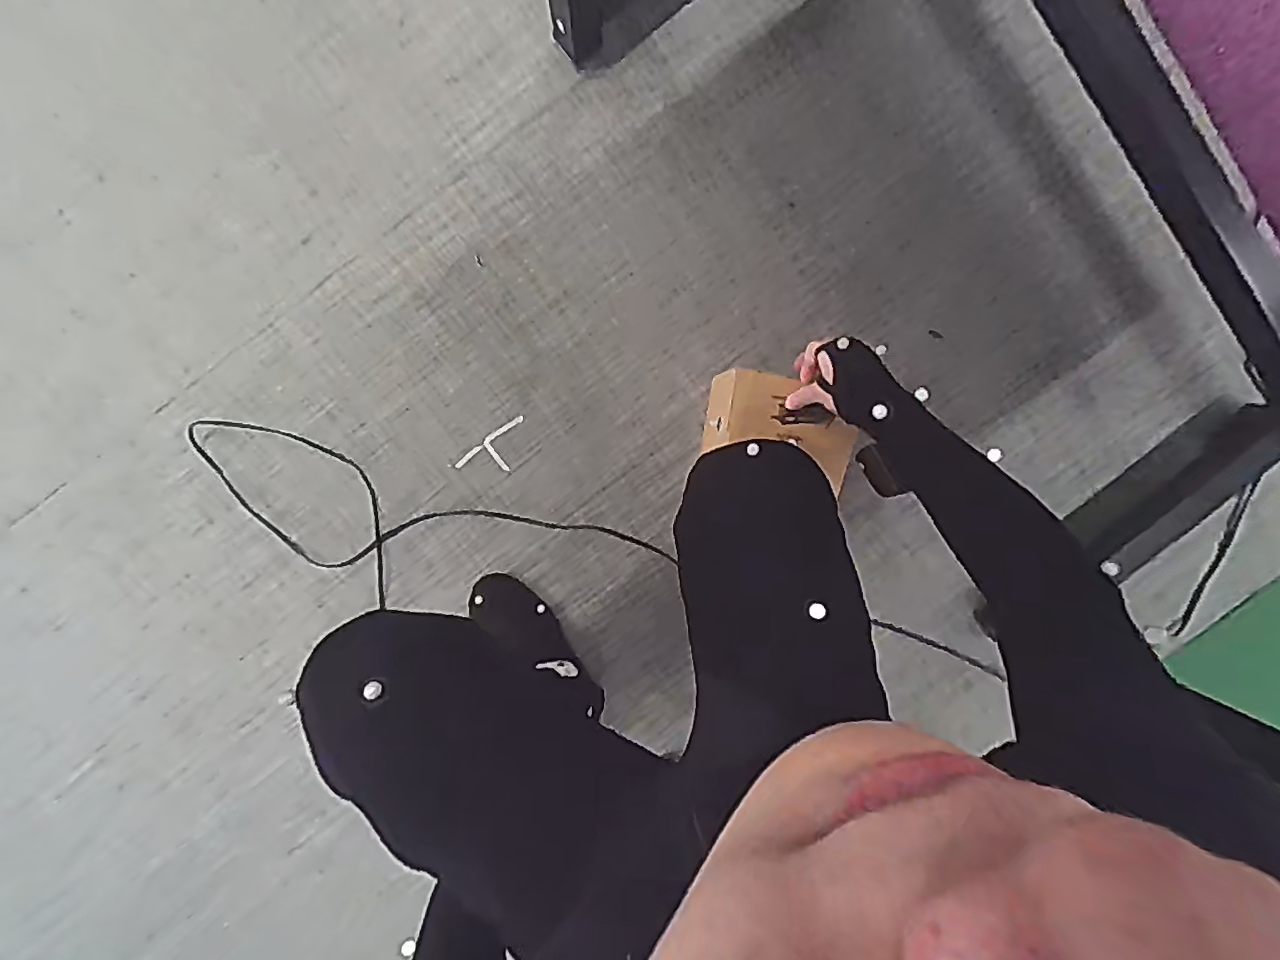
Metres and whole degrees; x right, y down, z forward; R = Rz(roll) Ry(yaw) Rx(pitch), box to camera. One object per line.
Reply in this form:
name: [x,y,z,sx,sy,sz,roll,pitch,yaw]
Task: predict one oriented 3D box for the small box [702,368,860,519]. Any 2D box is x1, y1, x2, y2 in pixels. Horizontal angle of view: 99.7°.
small box: [0.190,-0.054,0.783,0.168,0.176,0.179,9,96,-2]
